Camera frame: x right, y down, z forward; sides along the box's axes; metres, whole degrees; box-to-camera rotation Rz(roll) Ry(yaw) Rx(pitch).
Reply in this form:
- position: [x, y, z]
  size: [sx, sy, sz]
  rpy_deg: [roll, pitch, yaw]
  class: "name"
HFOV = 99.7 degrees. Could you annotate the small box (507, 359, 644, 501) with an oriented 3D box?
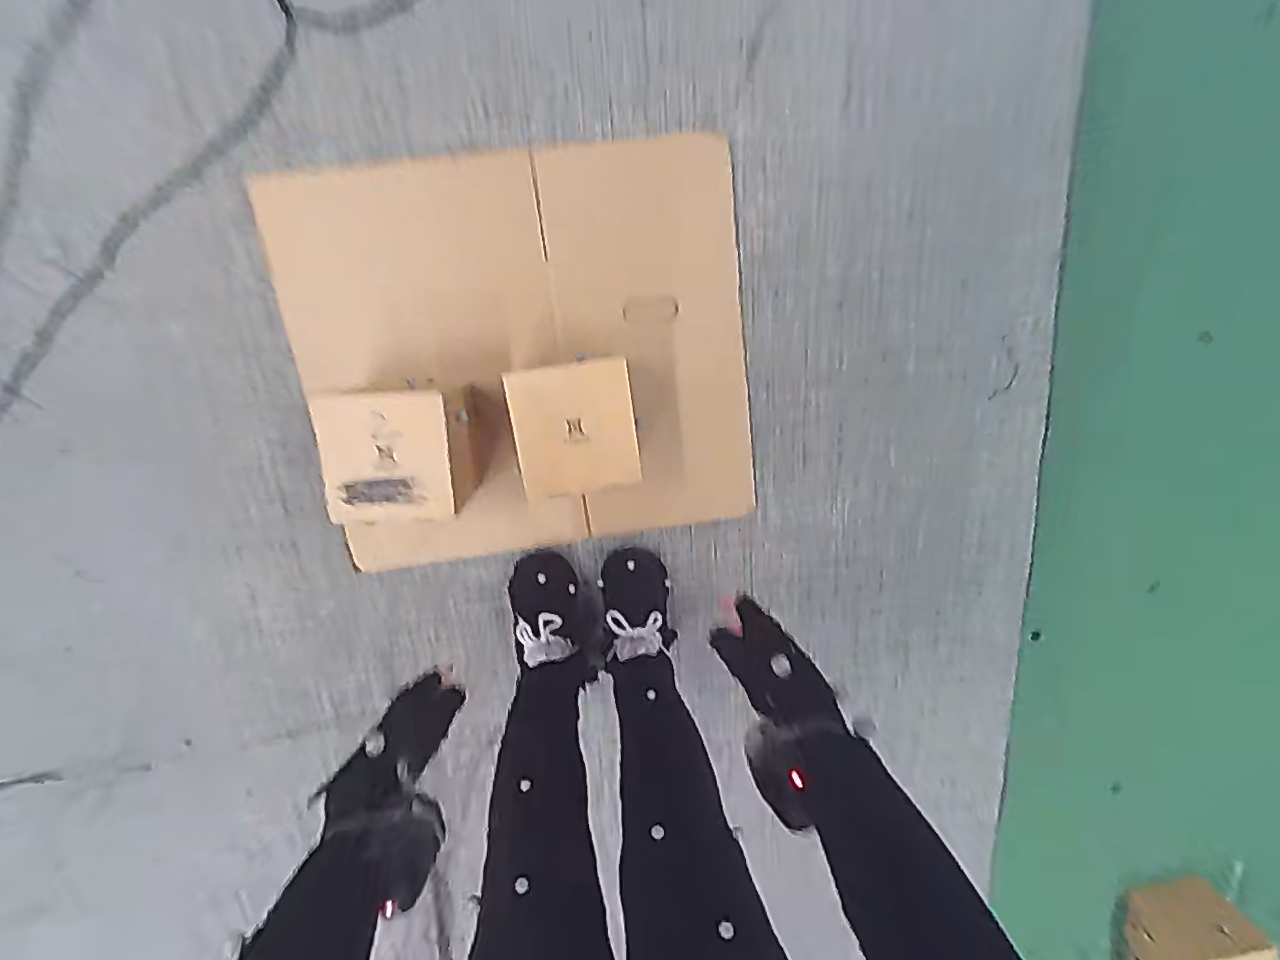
- position: [-0.096, -0.084, 0.814]
  size: [0.168, 0.176, 0.179]
  rpy_deg: [-10, 105, -4]
  class: "small box"
